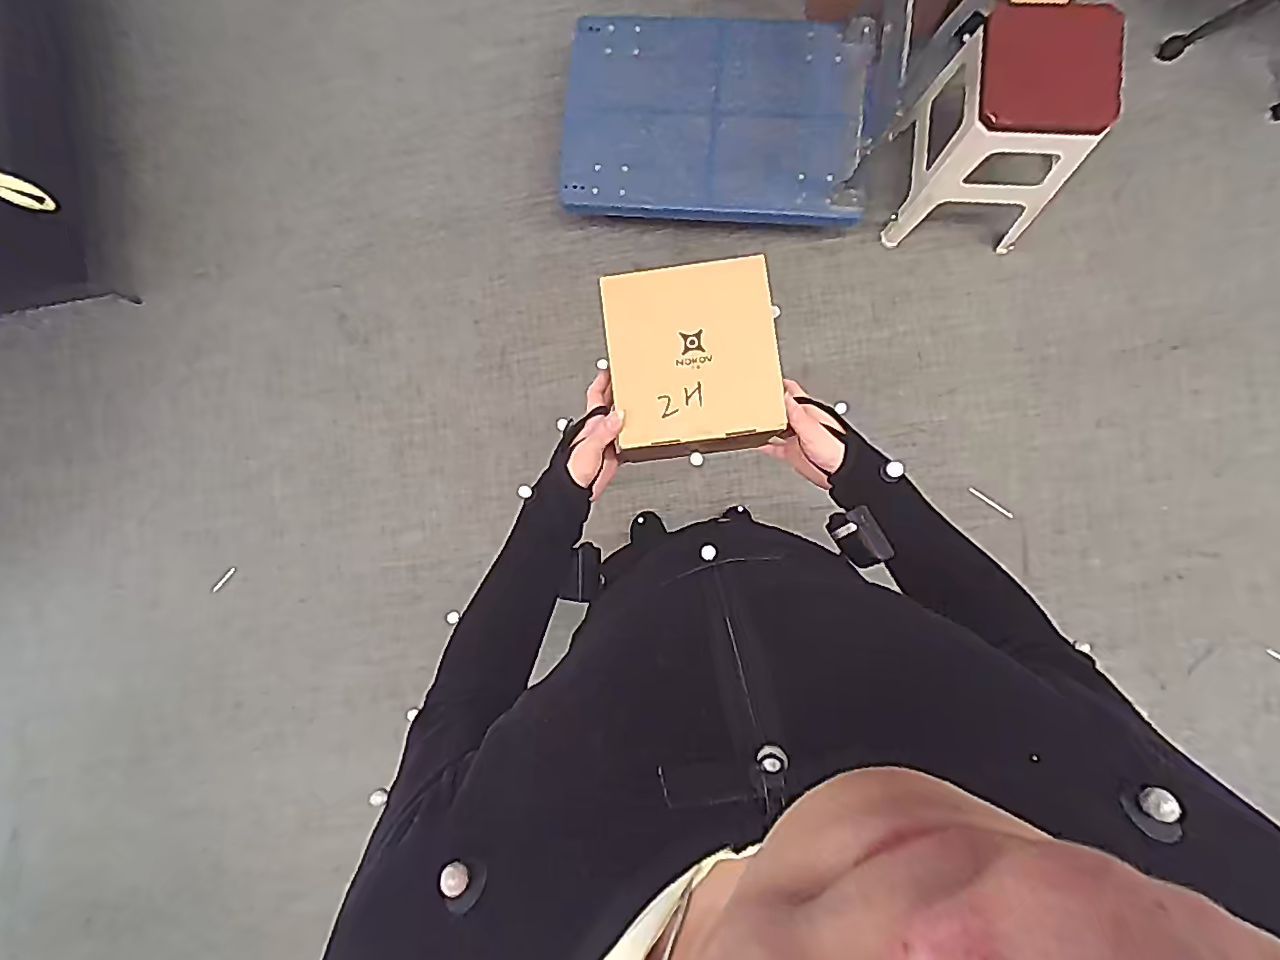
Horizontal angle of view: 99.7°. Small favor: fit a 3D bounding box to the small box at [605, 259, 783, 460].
[{"bbox_3d":[0.055,-0.124,0.617,0.168,0.176,0.179,-6,87,3],"label":"small box"}]
